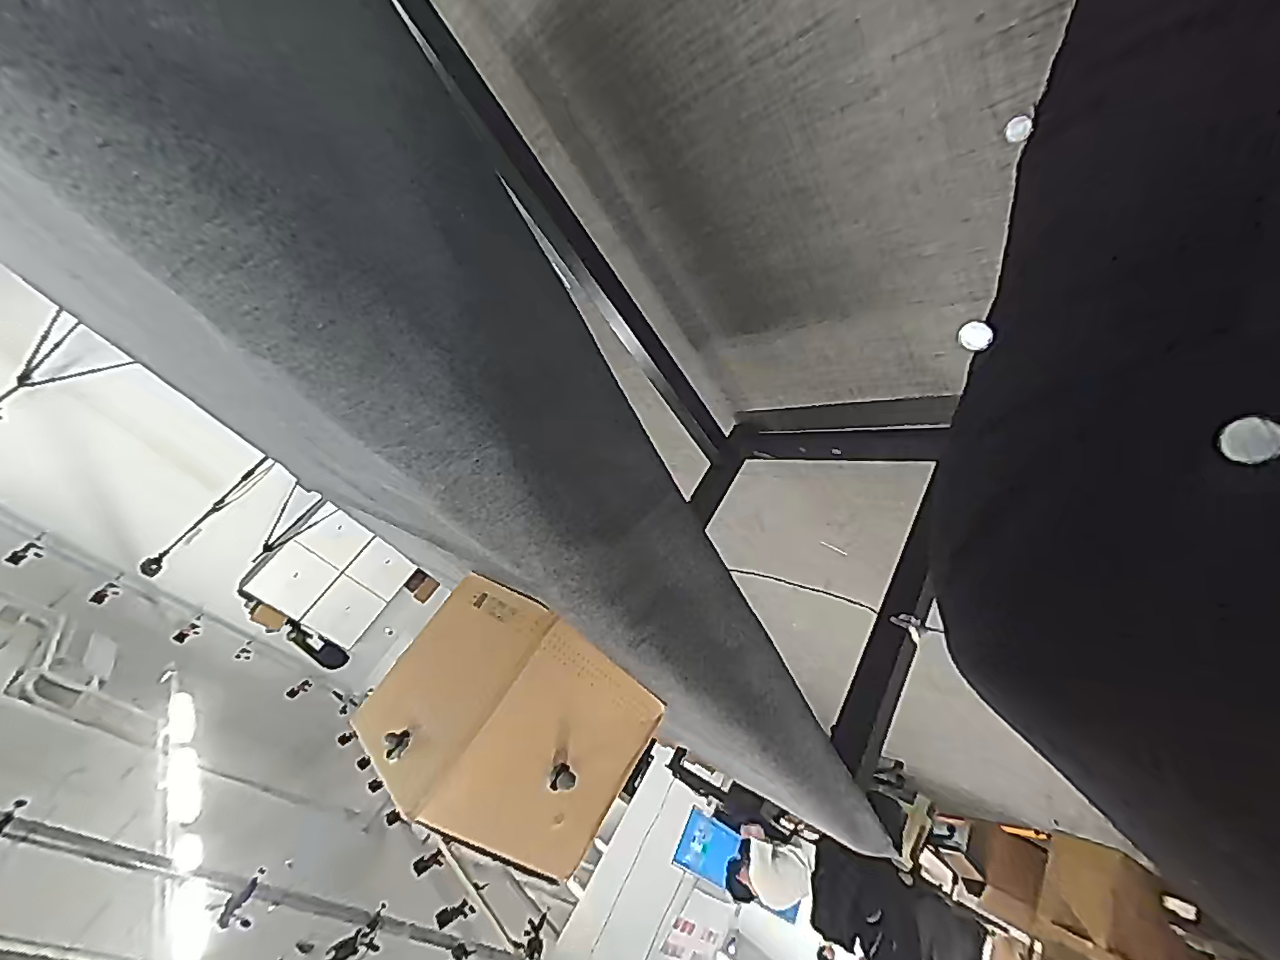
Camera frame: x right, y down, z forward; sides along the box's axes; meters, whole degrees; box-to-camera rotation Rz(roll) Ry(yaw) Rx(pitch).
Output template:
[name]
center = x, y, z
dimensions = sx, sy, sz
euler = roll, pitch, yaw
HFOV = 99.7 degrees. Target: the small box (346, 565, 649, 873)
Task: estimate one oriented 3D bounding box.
[small box]
center = -0.123, 0.206, 0.499
dimensions = 0.168, 0.176, 0.179
euler = 6, 144, 49
